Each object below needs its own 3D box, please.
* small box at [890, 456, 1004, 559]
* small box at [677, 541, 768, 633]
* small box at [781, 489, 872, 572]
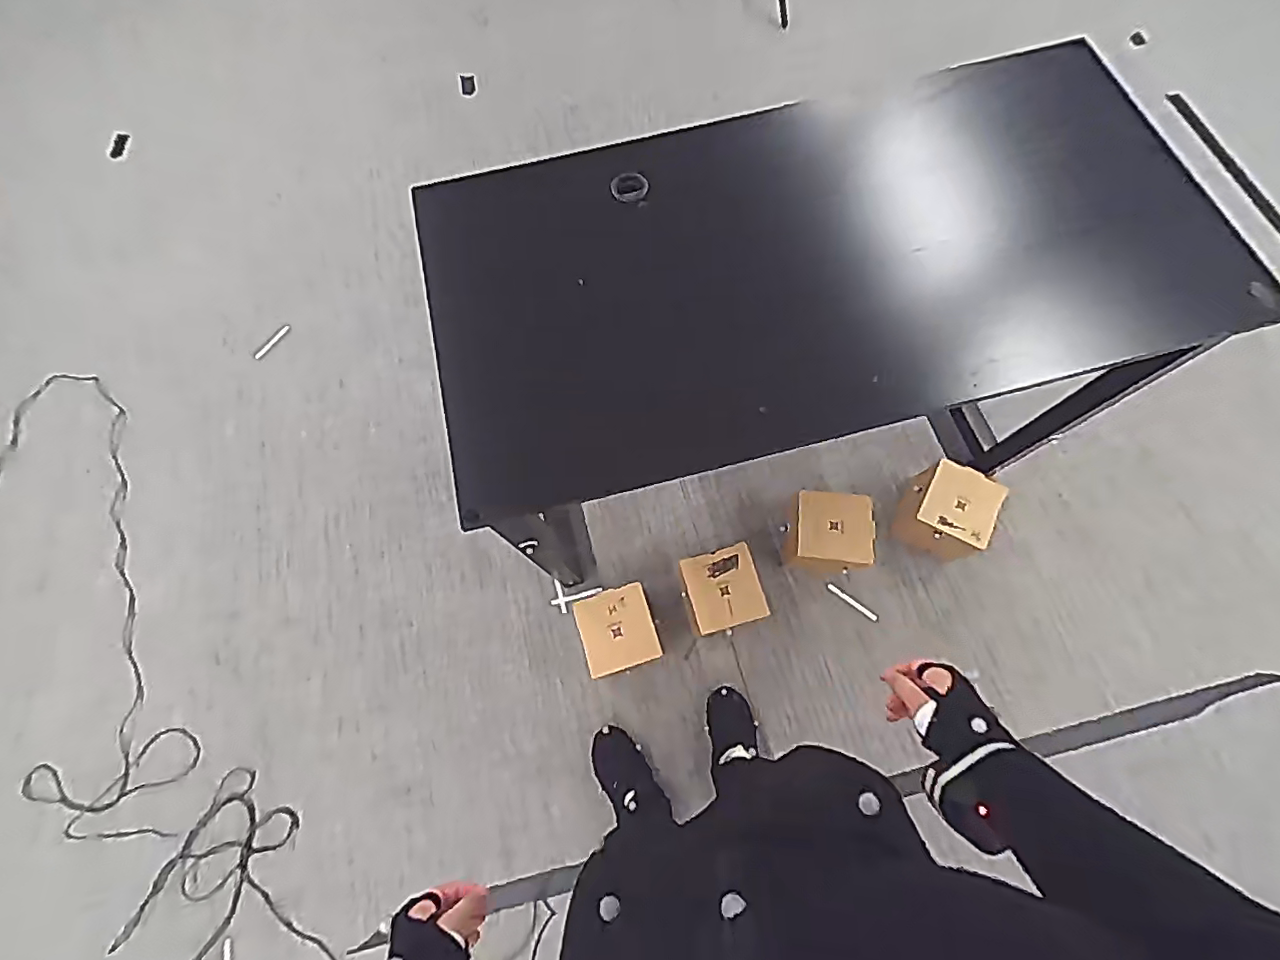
[{"bbox_3d":[0.757,0.074,1.351,0.168,0.176,0.179,27,75,11],"label":"small box"},{"bbox_3d":[0.192,0.265,1.313,0.168,0.176,0.179,-16,73,-3],"label":"small box"},{"bbox_3d":[0.459,0.131,1.348,0.179,0.176,0.168,5,71,5],"label":"small box"}]
